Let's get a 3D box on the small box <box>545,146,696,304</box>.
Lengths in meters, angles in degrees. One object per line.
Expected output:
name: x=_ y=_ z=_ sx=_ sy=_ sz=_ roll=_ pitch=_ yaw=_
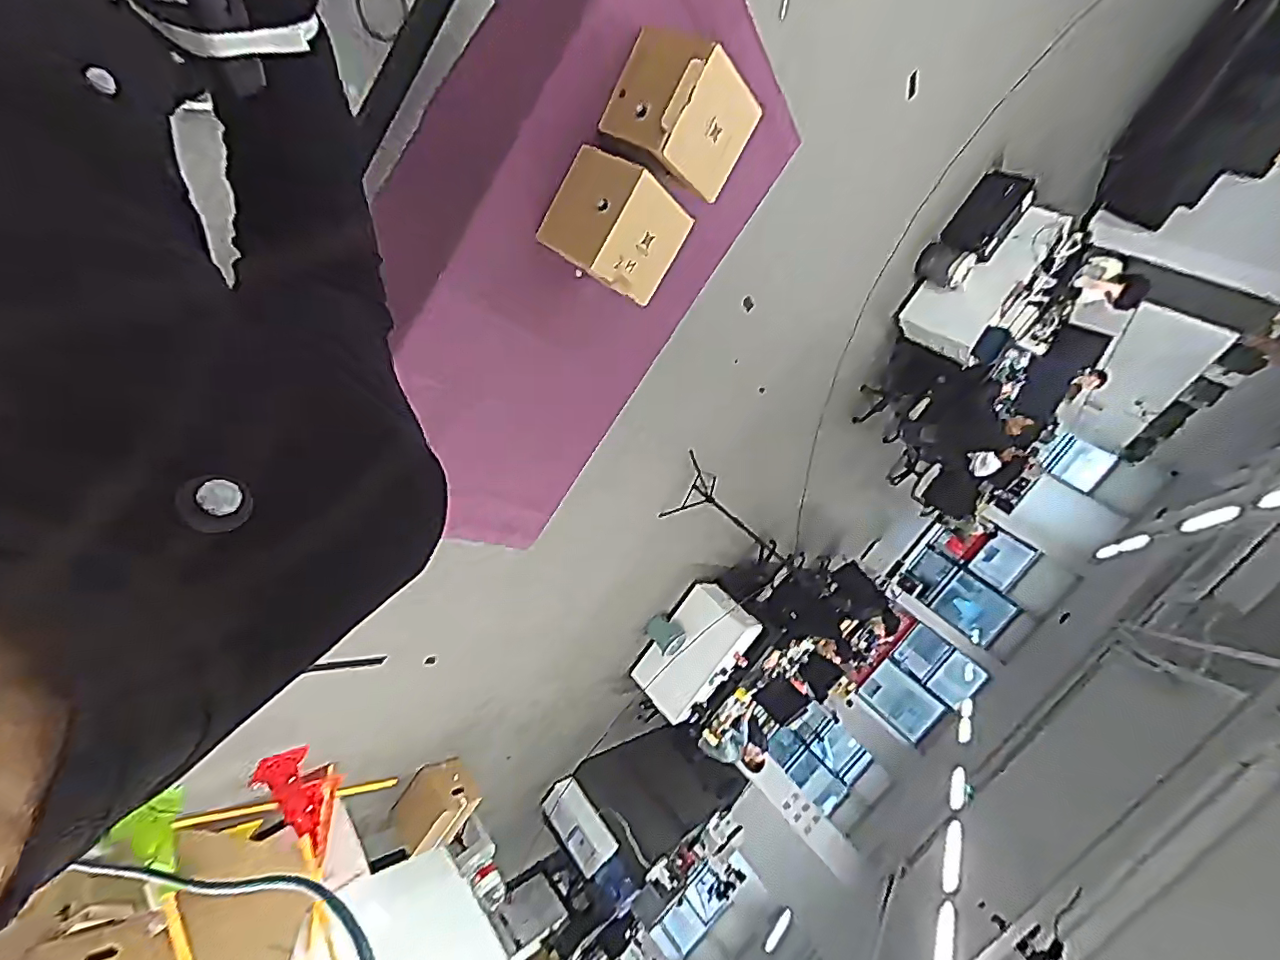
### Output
small box: x=-0.040 y=-0.454 z=0.965 sx=0.168 sy=0.176 sz=0.179 roll=12 pitch=115 yaw=-55

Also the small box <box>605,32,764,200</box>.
small box: x=0.072 y=-0.621 z=0.925 sx=0.179 sy=0.176 sz=0.168 roll=6 pitch=121 yaw=-54
